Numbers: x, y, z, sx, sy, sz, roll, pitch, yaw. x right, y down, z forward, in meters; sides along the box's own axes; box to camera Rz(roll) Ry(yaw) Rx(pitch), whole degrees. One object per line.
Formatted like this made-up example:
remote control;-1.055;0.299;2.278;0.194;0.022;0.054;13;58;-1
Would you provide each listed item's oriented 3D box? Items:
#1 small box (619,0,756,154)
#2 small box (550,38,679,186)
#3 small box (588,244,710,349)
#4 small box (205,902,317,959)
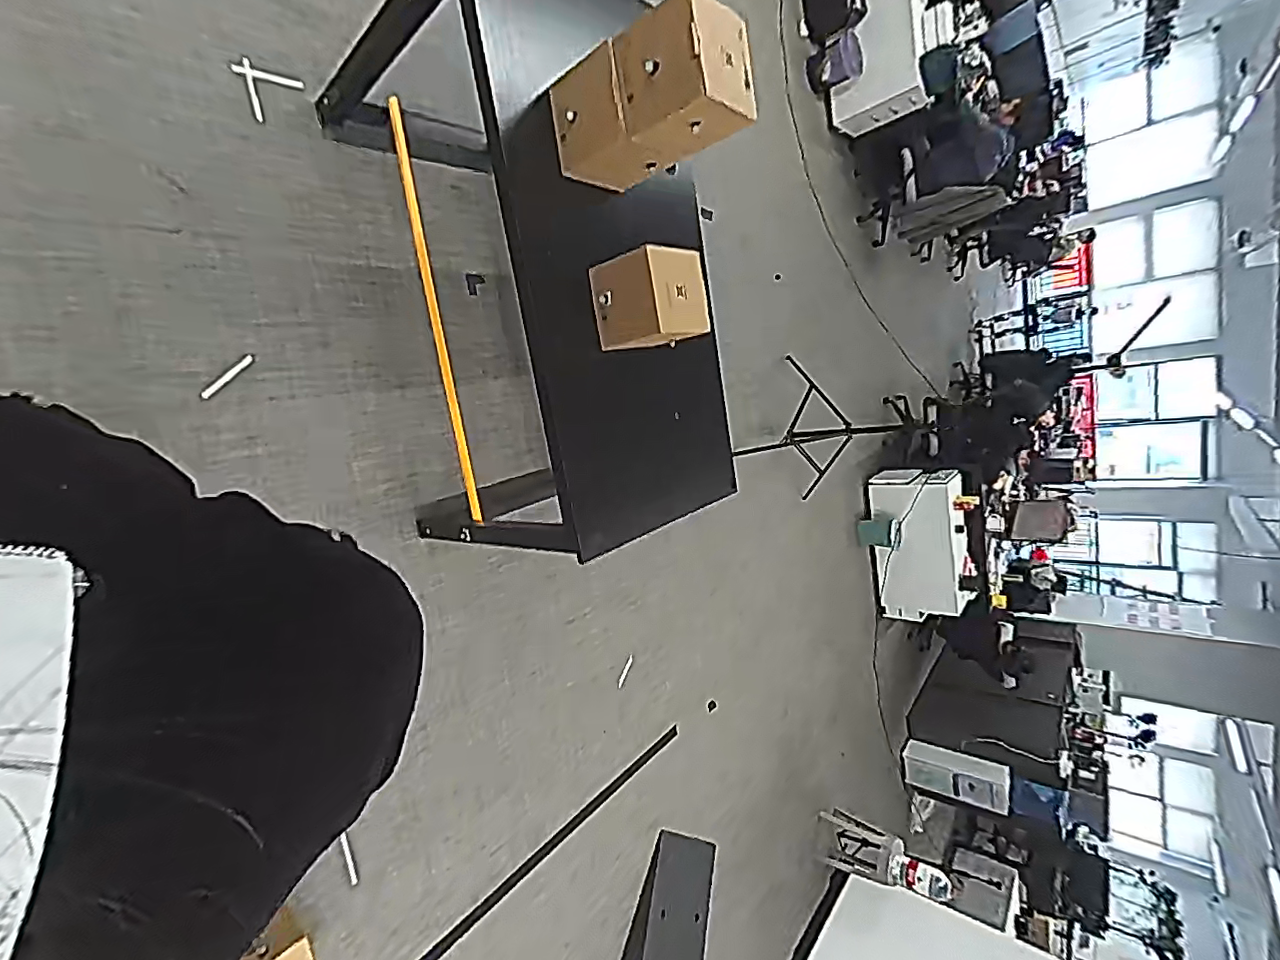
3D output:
small box;0.079;-0.706;0.953;0.179;0.176;0.168;-21;105;-46
small box;-0.049;-0.699;1.056;0.179;0.176;0.168;-17;101;-47
small box;0.019;-0.375;1.127;0.179;0.176;0.168;-21;103;-46
small box;-0.845;1.113;1.214;0.179;0.176;0.168;-20;104;-46
